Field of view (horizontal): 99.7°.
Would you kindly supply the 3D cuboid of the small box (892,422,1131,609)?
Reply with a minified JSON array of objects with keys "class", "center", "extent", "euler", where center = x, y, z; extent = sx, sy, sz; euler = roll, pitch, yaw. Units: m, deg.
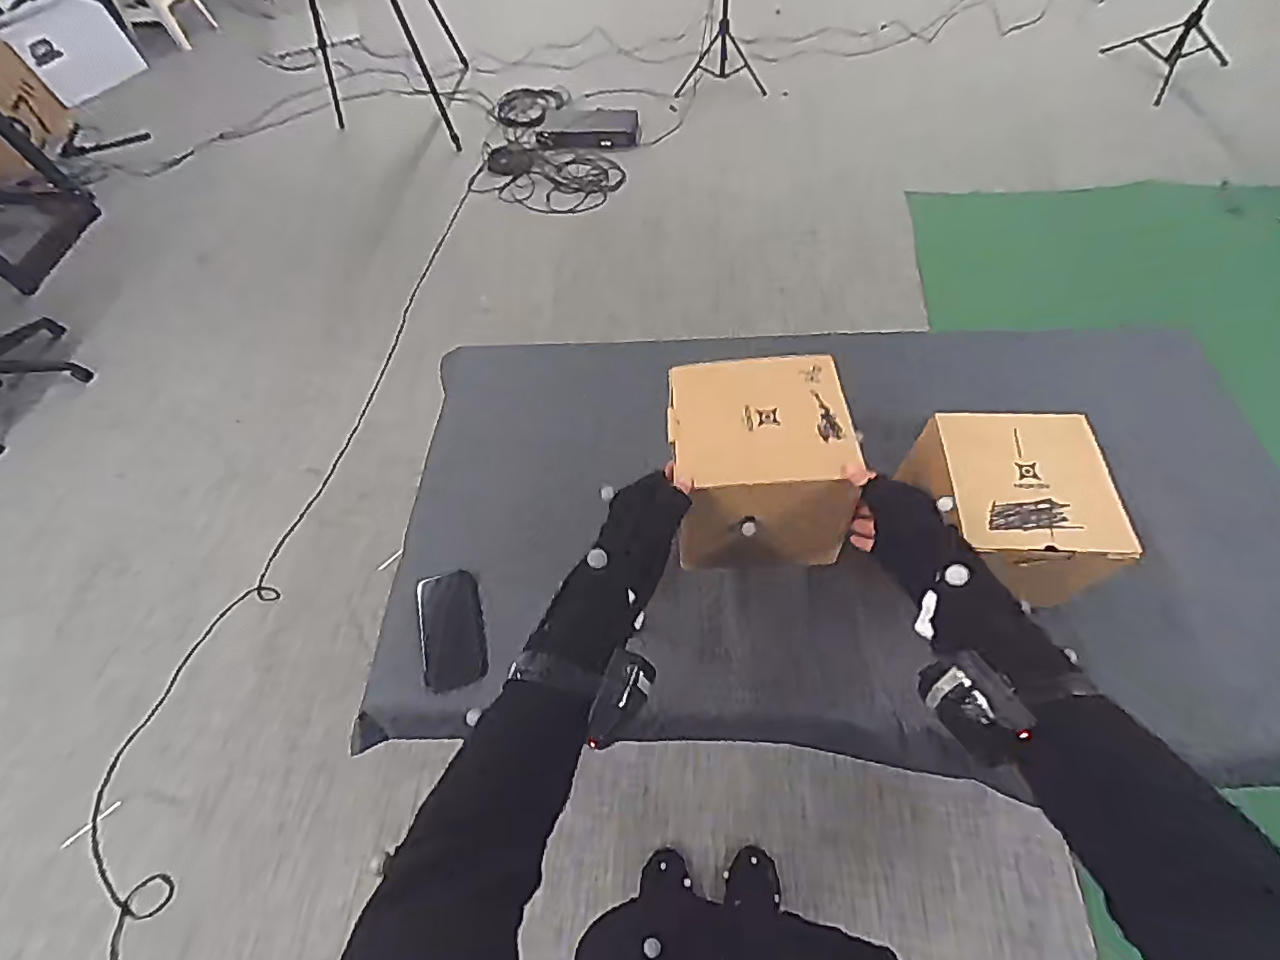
[{"class":"small box","center":[0.427,0.049,0.661],"extent":[0.168,0.176,0.179],"euler":[2,58,6]}]

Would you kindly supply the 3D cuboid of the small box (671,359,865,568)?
[{"class":"small box","center":[0.130,-0.011,0.604],"extent":[0.179,0.176,0.168],"euler":[-4,53,6]}]
